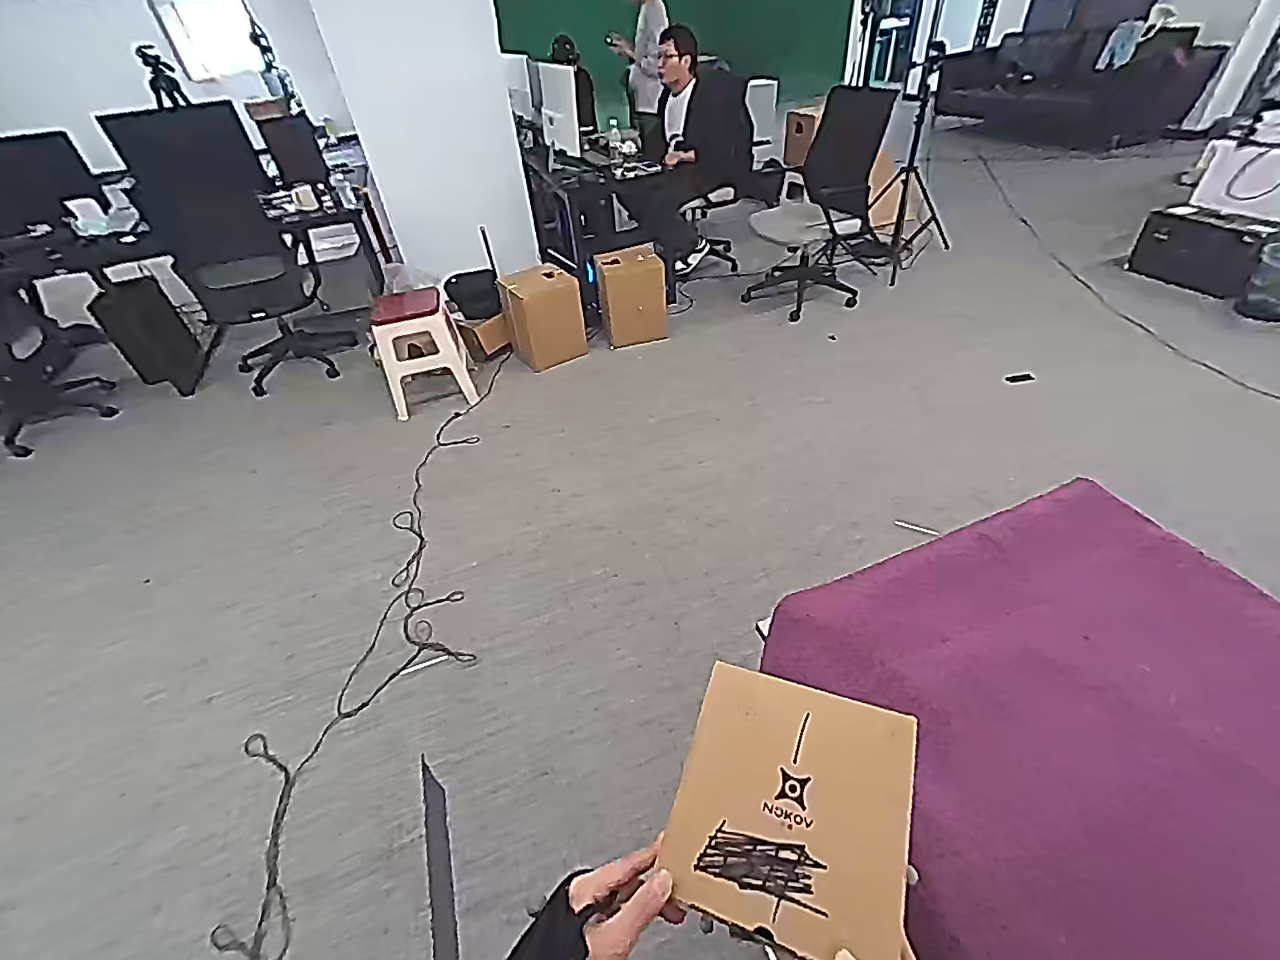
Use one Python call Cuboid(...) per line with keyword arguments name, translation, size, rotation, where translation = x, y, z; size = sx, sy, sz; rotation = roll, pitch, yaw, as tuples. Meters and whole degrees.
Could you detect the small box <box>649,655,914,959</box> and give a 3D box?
Cuboid(name="small box", translation=(0.124, 0.283, 0.462), size=(0.168, 0.176, 0.179), rotation=(10, 53, 21))
